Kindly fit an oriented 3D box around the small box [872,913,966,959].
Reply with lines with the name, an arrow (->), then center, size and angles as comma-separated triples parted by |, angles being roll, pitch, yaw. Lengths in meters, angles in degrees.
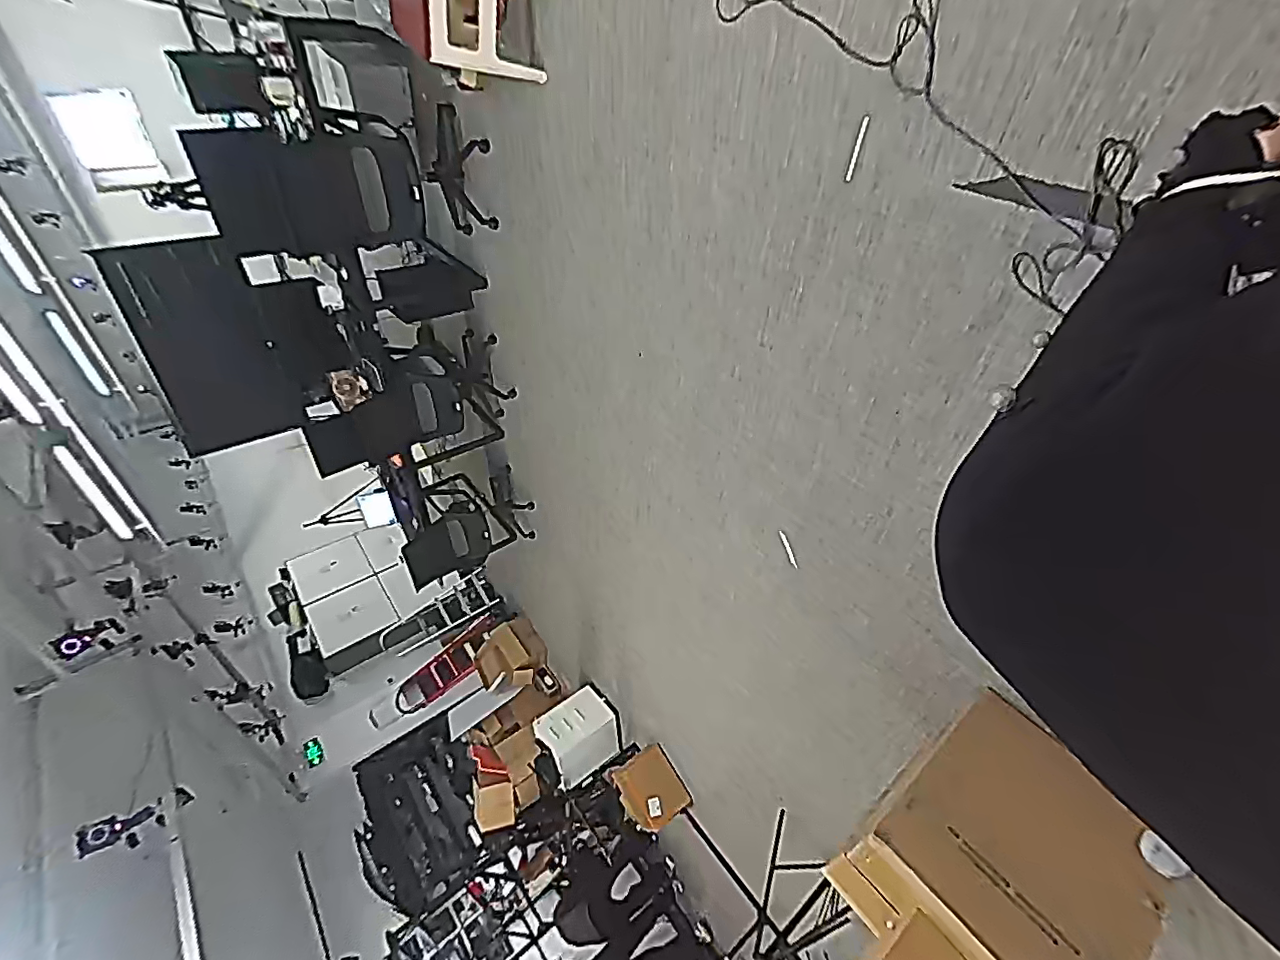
small box -> 0.656, 1.151, 1.238 | 0.179, 0.176, 0.168 | 44, 144, 33
